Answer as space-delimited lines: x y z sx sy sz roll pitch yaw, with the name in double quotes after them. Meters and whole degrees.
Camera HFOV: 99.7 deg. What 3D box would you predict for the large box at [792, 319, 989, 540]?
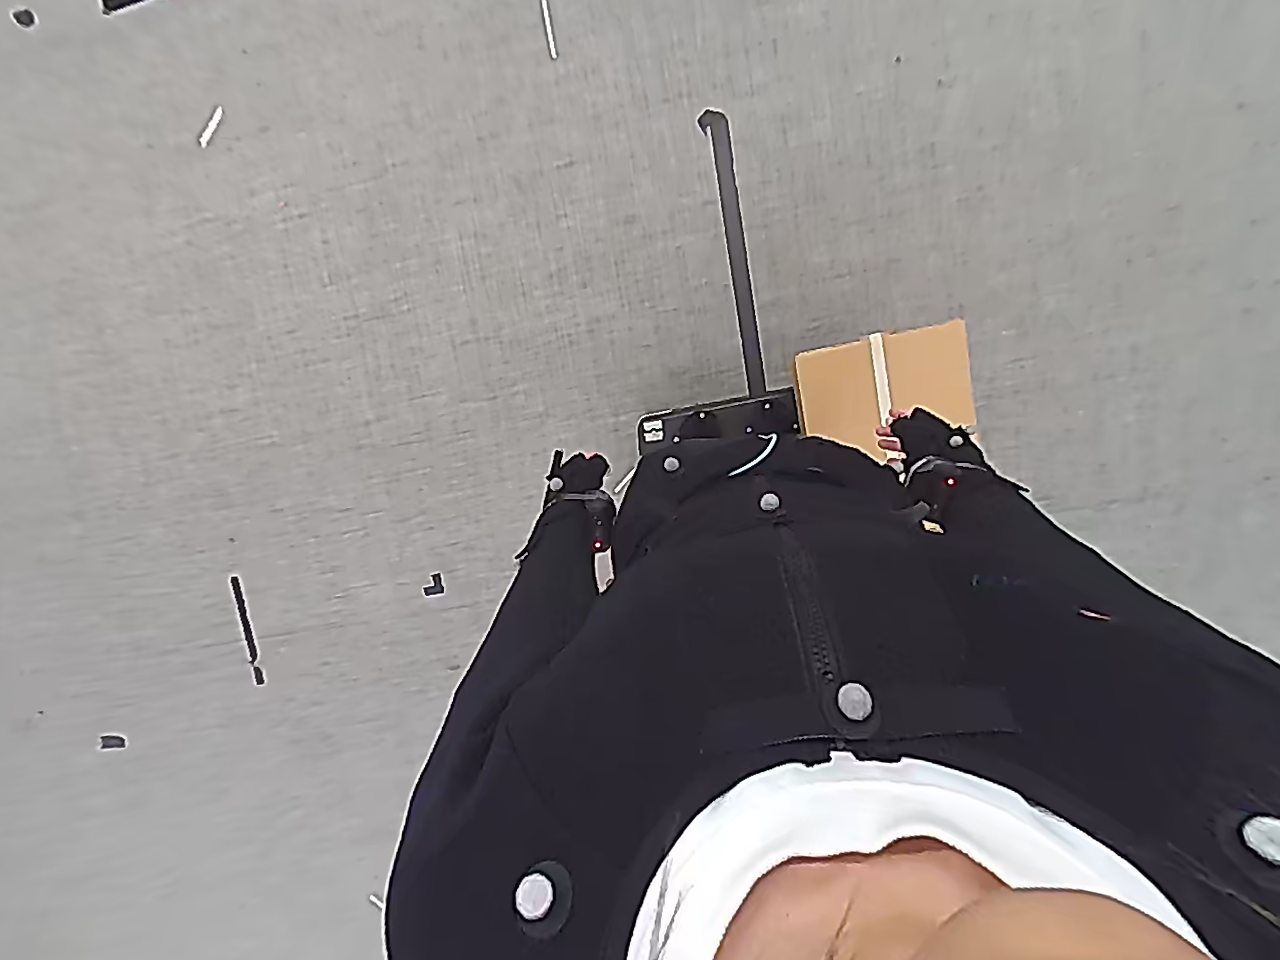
0.538 -0.116 1.223 0.320 0.320 0.408 -9 98 16 "large box"
